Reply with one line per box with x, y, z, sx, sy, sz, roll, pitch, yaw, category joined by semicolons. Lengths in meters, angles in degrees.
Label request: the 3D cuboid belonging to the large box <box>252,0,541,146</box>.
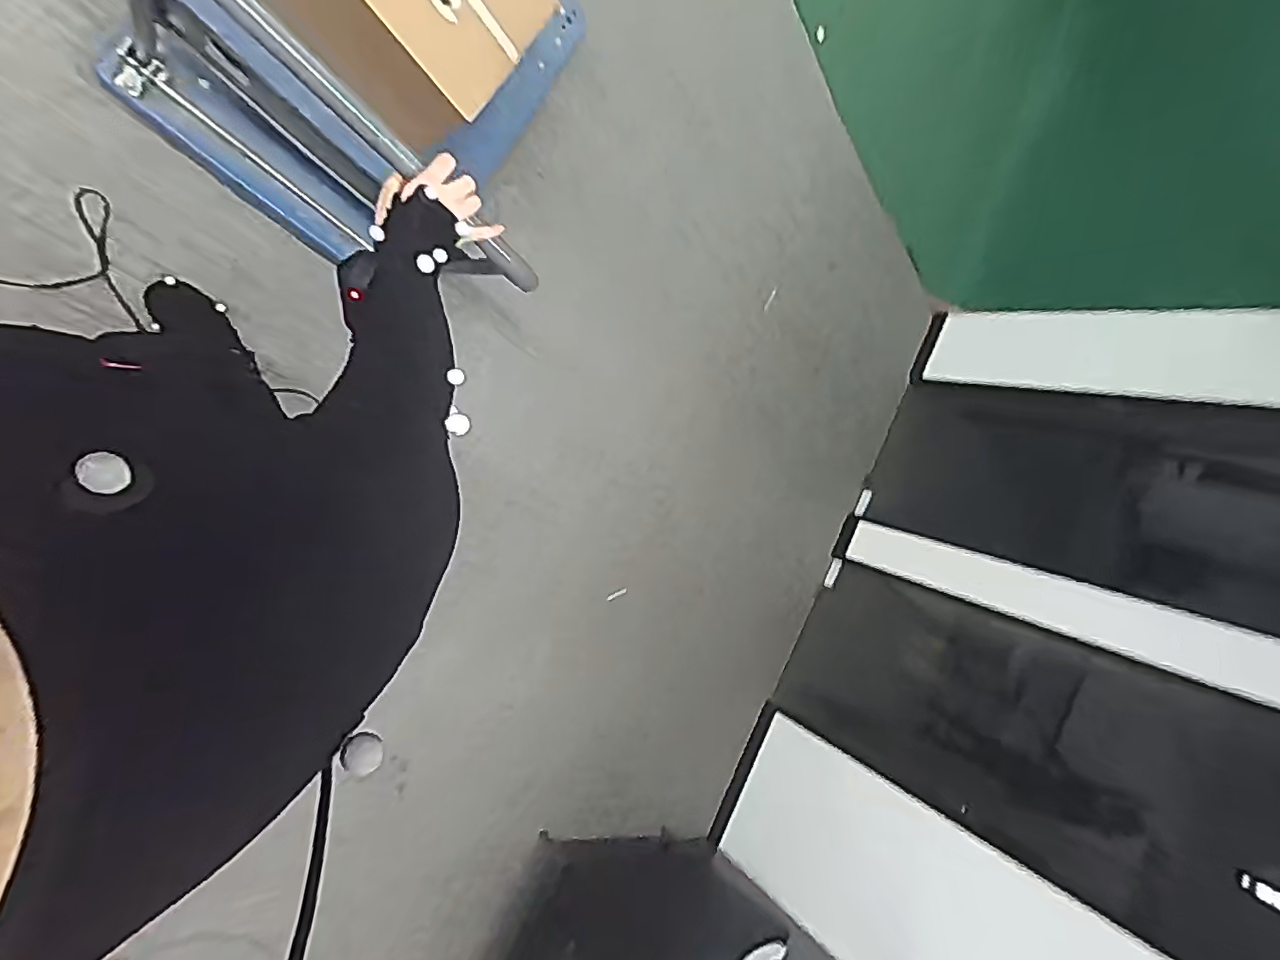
-0.469;-0.913;0.970;0.408;0.320;0.320;40;76;-43;large box
